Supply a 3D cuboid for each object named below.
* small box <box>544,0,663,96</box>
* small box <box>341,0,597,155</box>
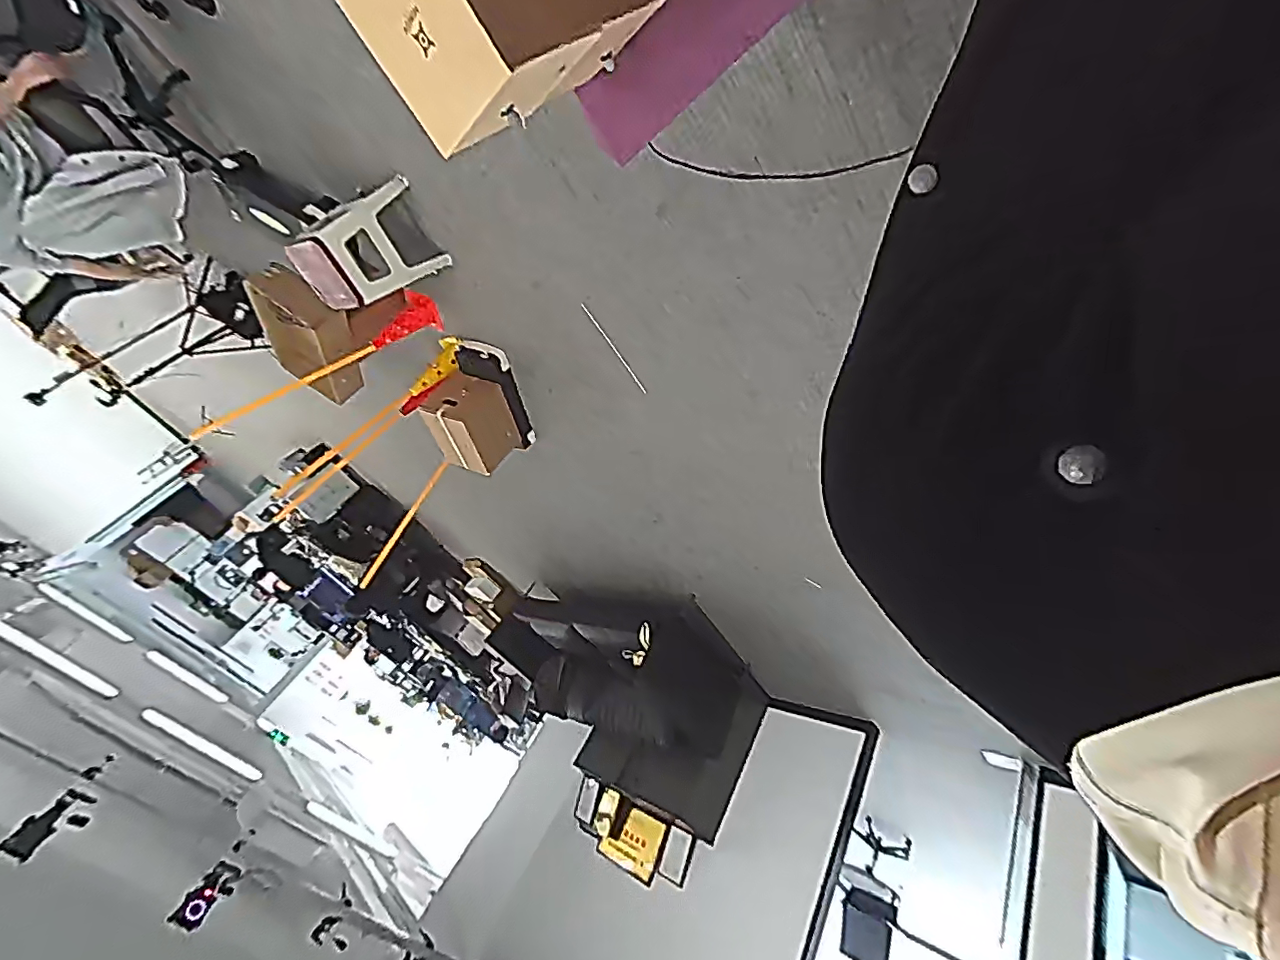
[{"bbox_3d":[-0.104,-0.625,0.680,0.168,0.176,0.179,-7,128,48],"label":"small box"},{"bbox_3d":[-0.179,-0.510,0.594,0.168,0.176,0.179,-6,128,48],"label":"small box"}]
